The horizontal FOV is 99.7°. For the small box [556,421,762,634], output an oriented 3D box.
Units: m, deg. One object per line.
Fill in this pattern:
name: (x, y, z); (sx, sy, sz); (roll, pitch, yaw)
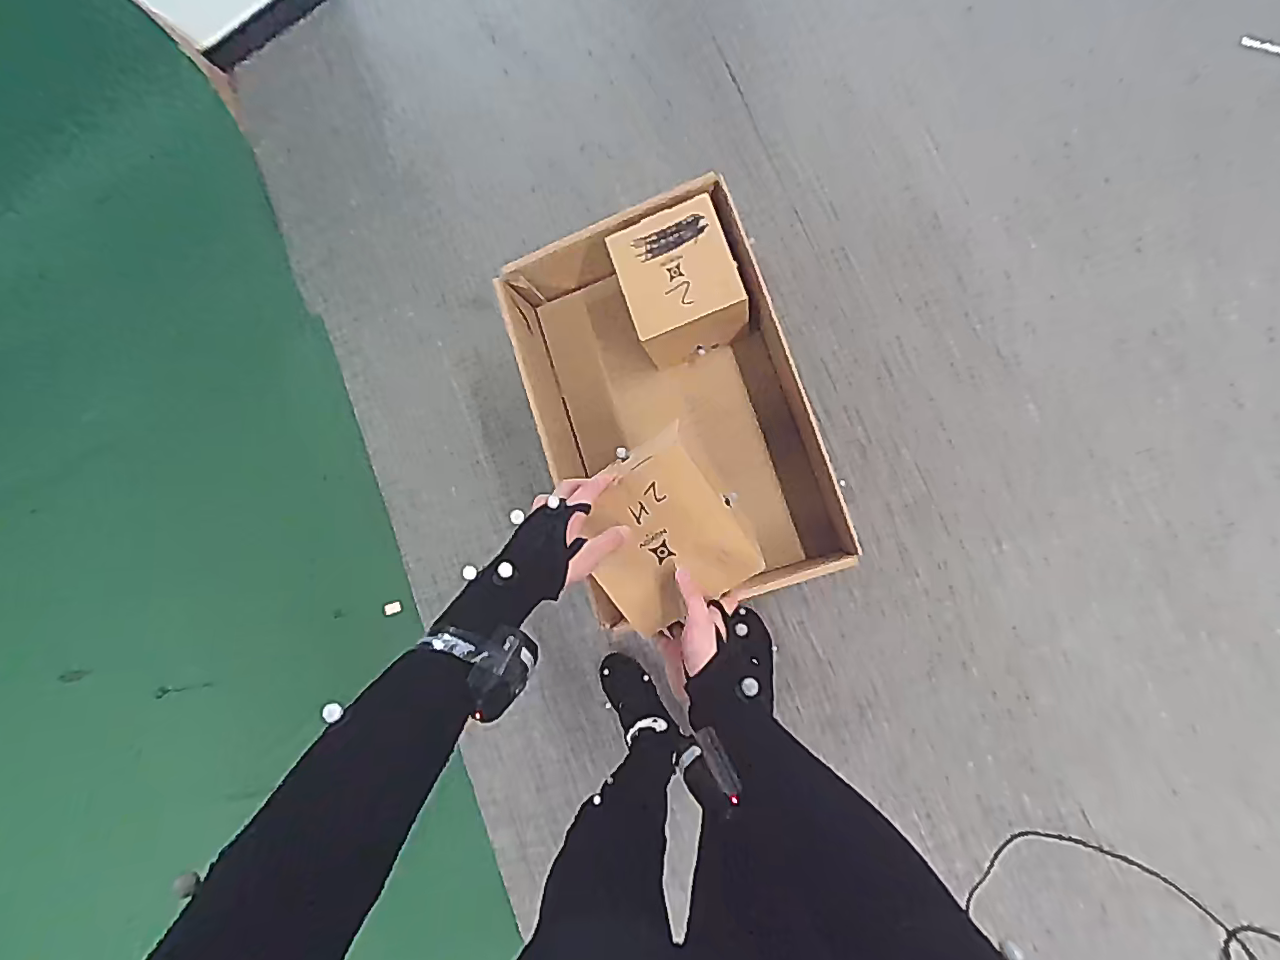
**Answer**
small box: (0.029, 0.047, 0.666); (0.168, 0.176, 0.179); (-34, 98, 13)
